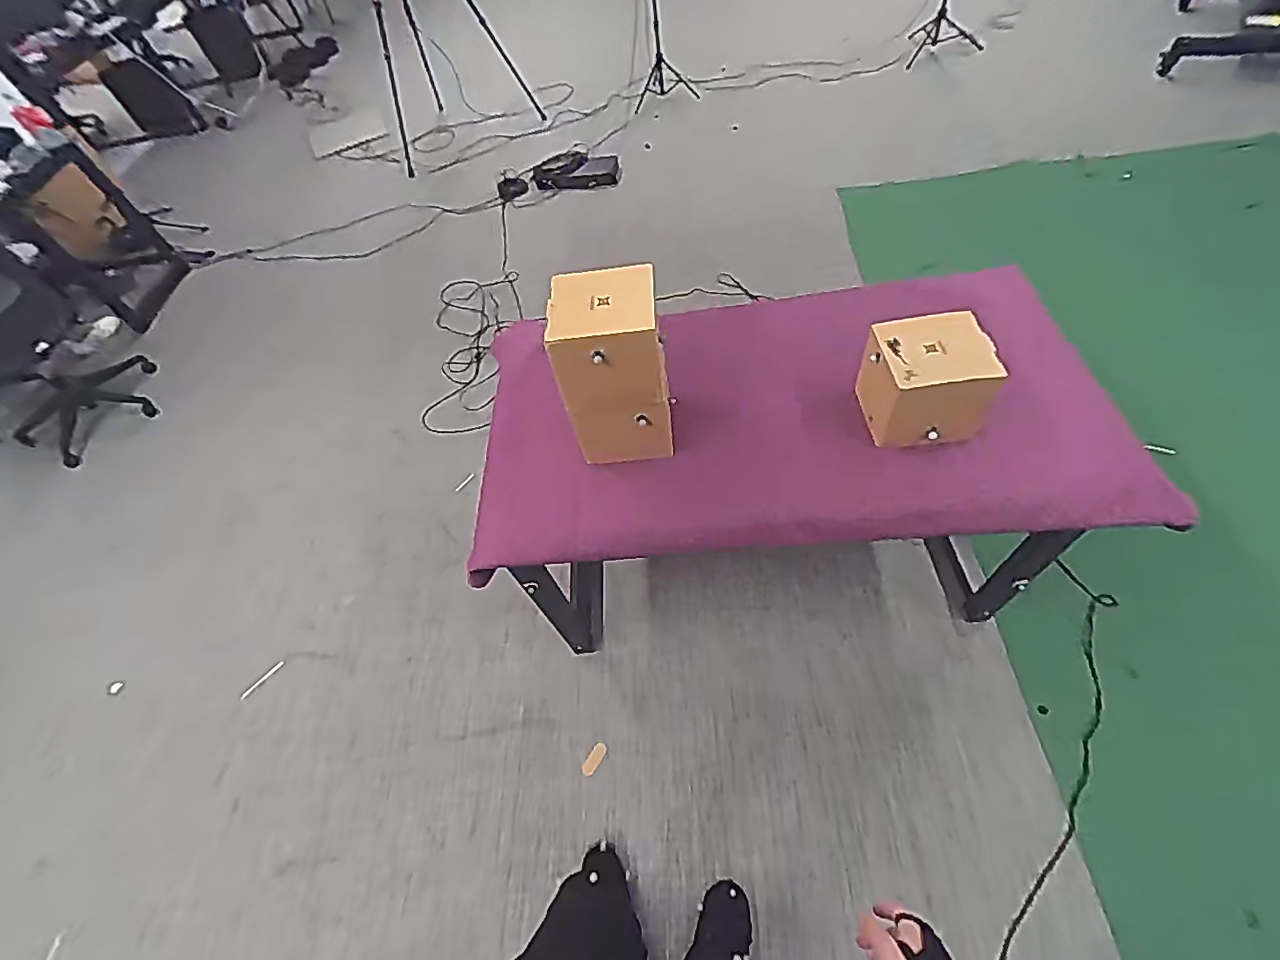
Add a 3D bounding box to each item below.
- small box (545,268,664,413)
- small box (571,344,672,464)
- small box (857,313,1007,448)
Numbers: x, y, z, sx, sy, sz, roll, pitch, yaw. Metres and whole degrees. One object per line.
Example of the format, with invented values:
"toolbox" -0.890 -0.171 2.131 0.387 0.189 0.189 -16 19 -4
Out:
"small box" -0.052 -0.235 0.937 0.179 0.176 0.168 -6 56 7
"small box" -0.029 -0.148 1.071 0.179 0.176 0.168 -5 55 7
"small box" 0.520 -0.178 0.993 0.179 0.176 0.168 -7 55 6
